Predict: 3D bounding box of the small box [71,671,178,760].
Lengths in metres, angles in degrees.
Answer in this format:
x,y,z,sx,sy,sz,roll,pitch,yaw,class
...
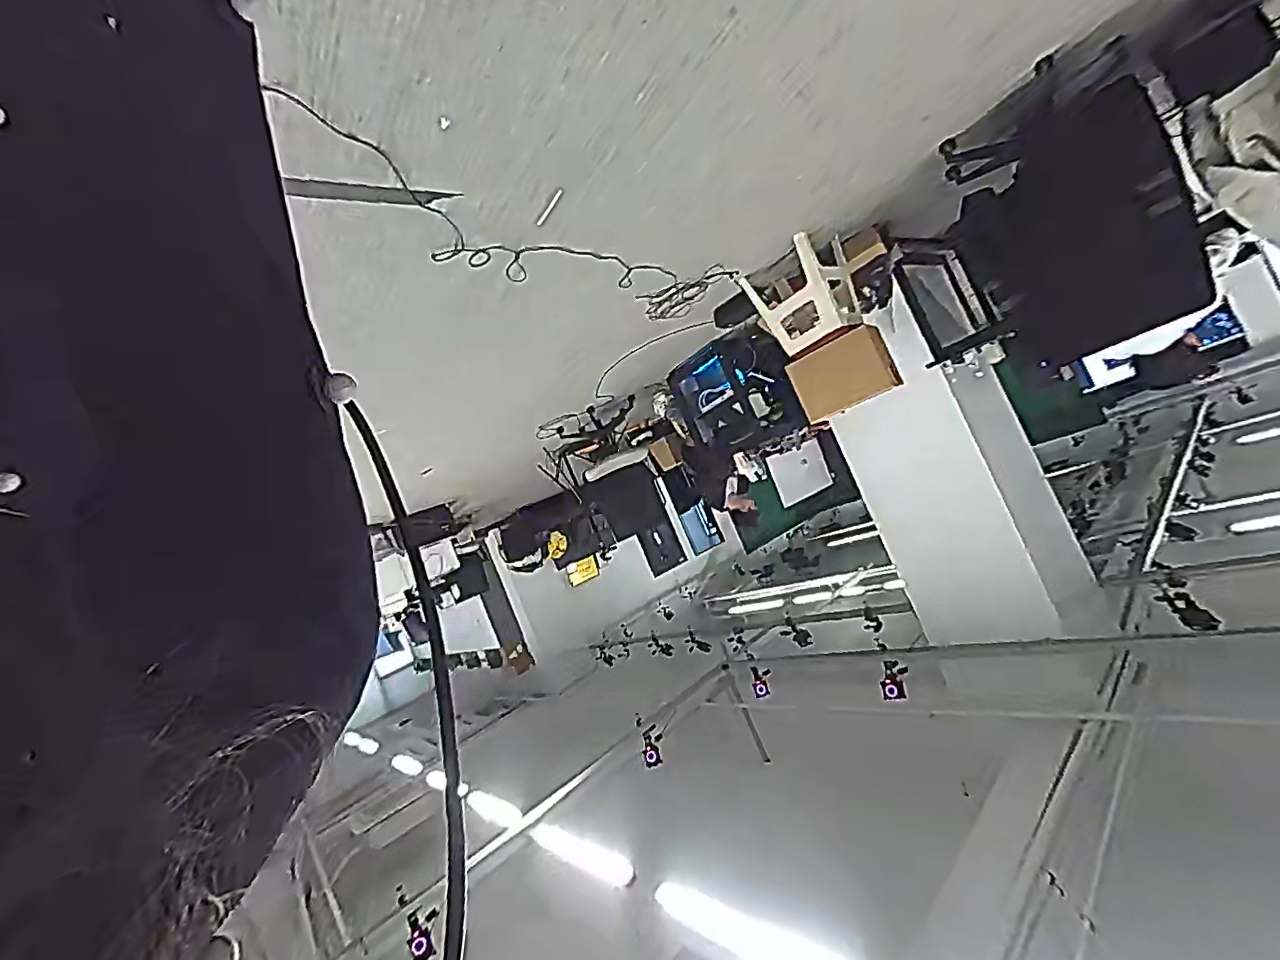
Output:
x,y,z,sx,sy,sz,roll,pitch,yaw,class
-1.430,0.648,1.508,0.168,0.176,0.179,-21,174,-37,small box
